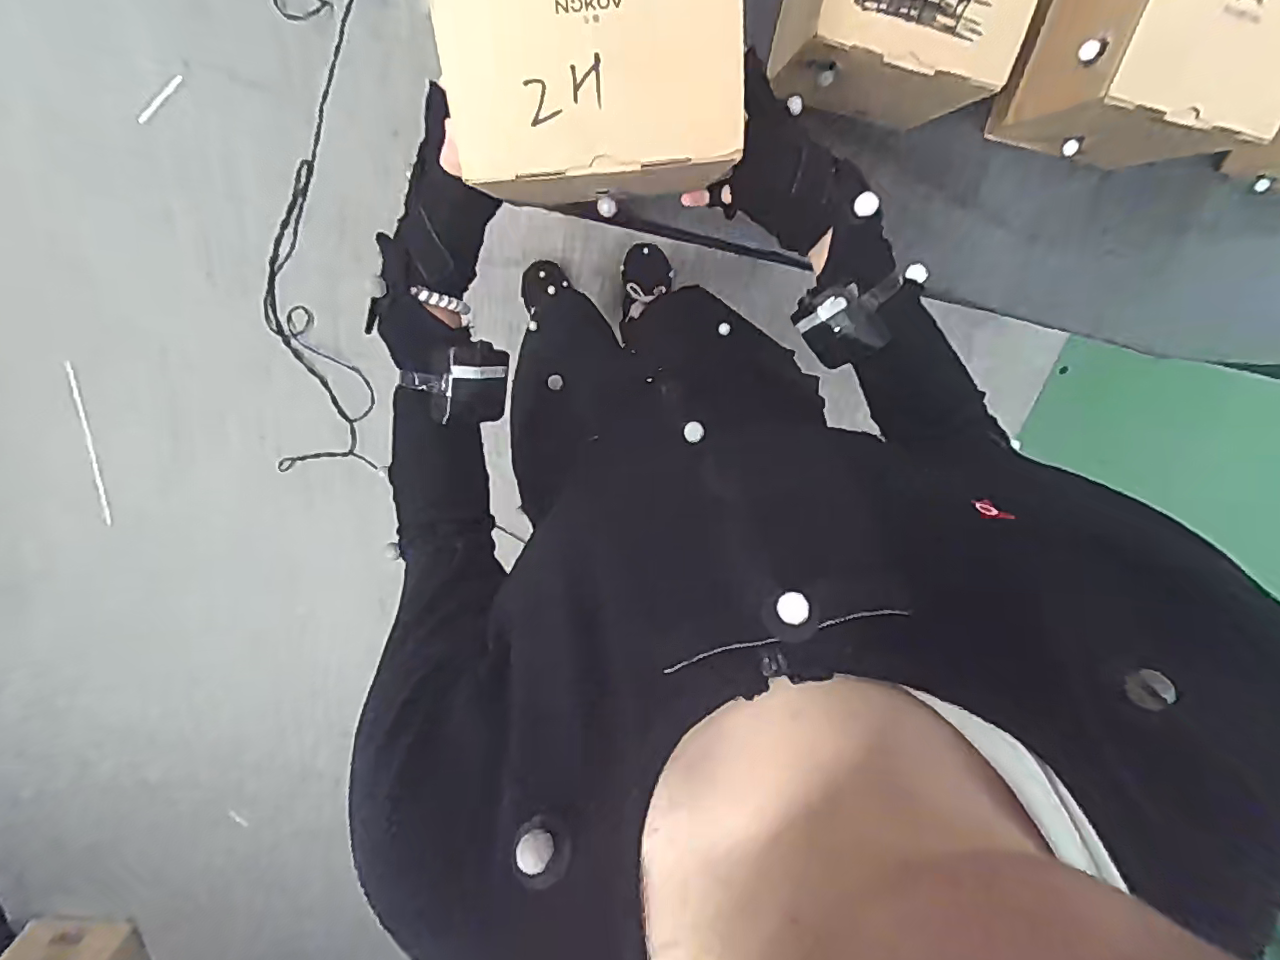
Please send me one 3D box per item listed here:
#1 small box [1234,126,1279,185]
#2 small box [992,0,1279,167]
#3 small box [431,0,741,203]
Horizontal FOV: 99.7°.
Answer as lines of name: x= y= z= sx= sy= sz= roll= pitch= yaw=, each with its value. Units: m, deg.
small box: x=0.754 y=-0.380 z=0.518 sx=0.168 sy=0.176 sz=0.179 roll=9 pitch=112 yaw=-6
small box: x=0.474 y=-0.410 z=0.498 sx=0.168 sy=0.176 sz=0.179 roll=9 pitch=114 yaw=-6
small box: x=-0.031 y=-0.292 z=0.354 sx=0.168 sy=0.176 sz=0.179 roll=-4 pitch=112 yaw=0
